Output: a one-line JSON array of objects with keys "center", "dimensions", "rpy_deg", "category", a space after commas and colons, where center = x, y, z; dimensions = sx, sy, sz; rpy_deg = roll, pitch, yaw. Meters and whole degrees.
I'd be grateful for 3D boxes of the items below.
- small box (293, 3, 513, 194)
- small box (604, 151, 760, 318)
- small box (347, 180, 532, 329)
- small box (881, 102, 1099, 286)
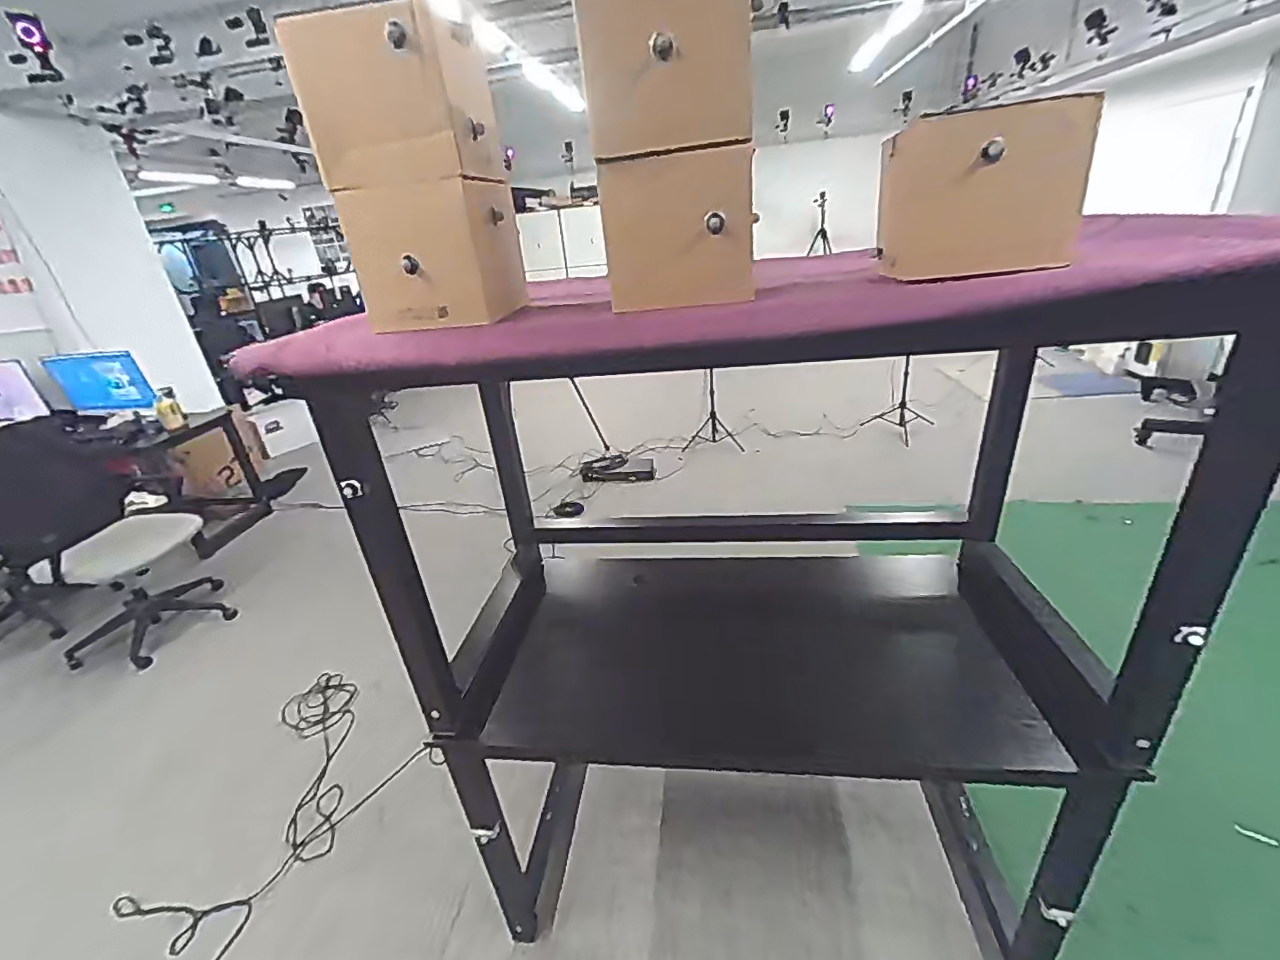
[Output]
[{"center": [-0.277, -0.452, 0.677], "dimensions": [0.179, 0.176, 0.168], "rpy_deg": [-2, 26, 6], "category": "small box"}, {"center": [0.061, -0.314, 0.704], "dimensions": [0.179, 0.176, 0.168], "rpy_deg": [-3, 24, 9], "category": "small box"}, {"center": [-0.257, -0.306, 0.746], "dimensions": [0.168, 0.176, 0.179], "rpy_deg": [-1, 25, 8], "category": "small box"}, {"center": [0.408, -0.336, 0.669], "dimensions": [0.179, 0.176, 0.168], "rpy_deg": [-1, 23, 11], "category": "small box"}]
